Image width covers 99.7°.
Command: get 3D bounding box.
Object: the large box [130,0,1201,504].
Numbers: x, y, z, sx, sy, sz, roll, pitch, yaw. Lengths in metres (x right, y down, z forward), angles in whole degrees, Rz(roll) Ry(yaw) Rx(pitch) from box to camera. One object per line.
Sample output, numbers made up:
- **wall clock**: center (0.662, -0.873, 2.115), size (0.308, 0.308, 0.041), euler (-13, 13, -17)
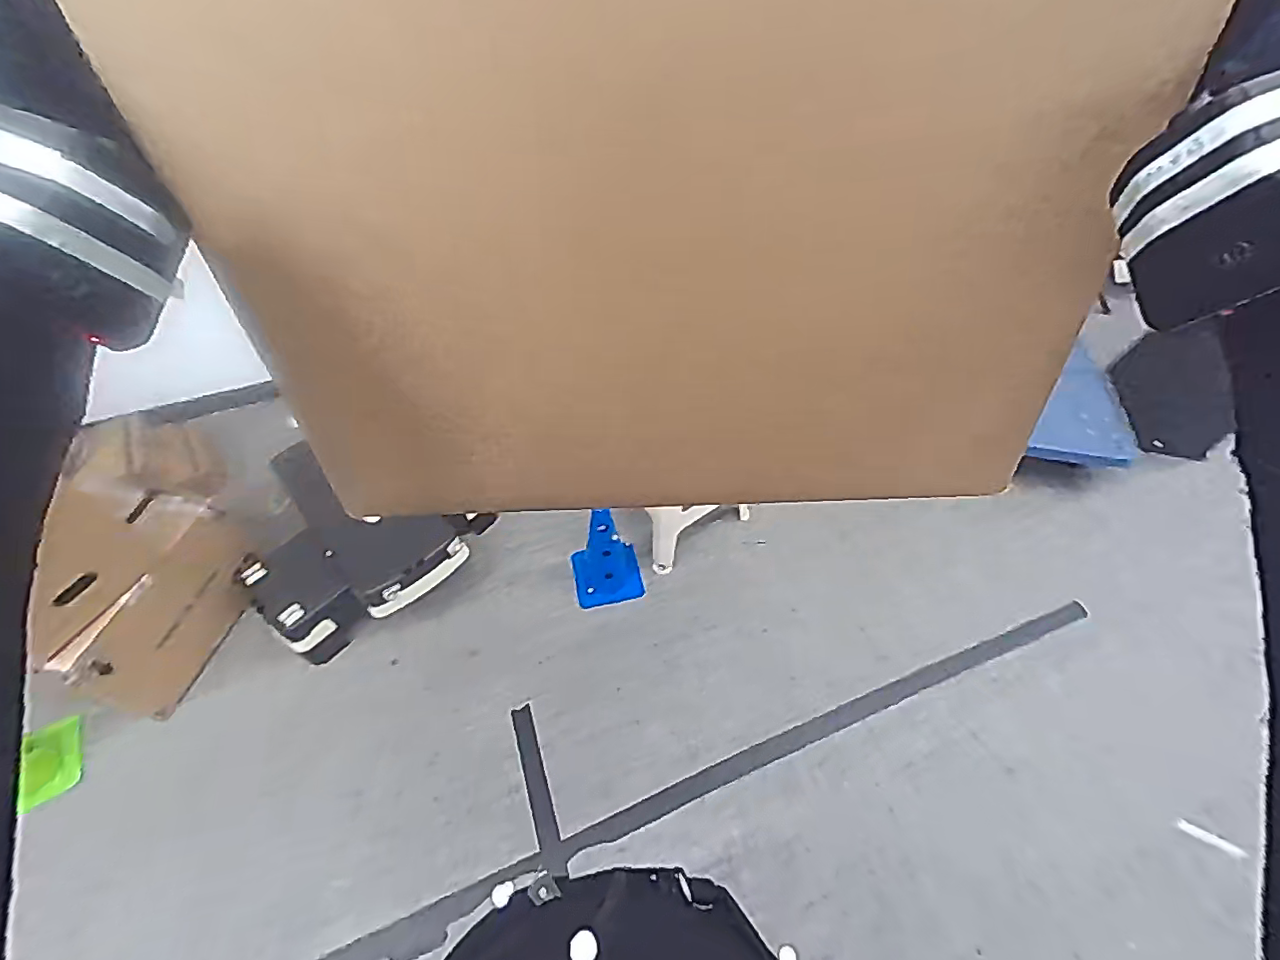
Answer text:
- **large box**: center (0.013, -0.198, 0.366), size (0.408, 0.320, 0.320), euler (-1, 39, 3)
